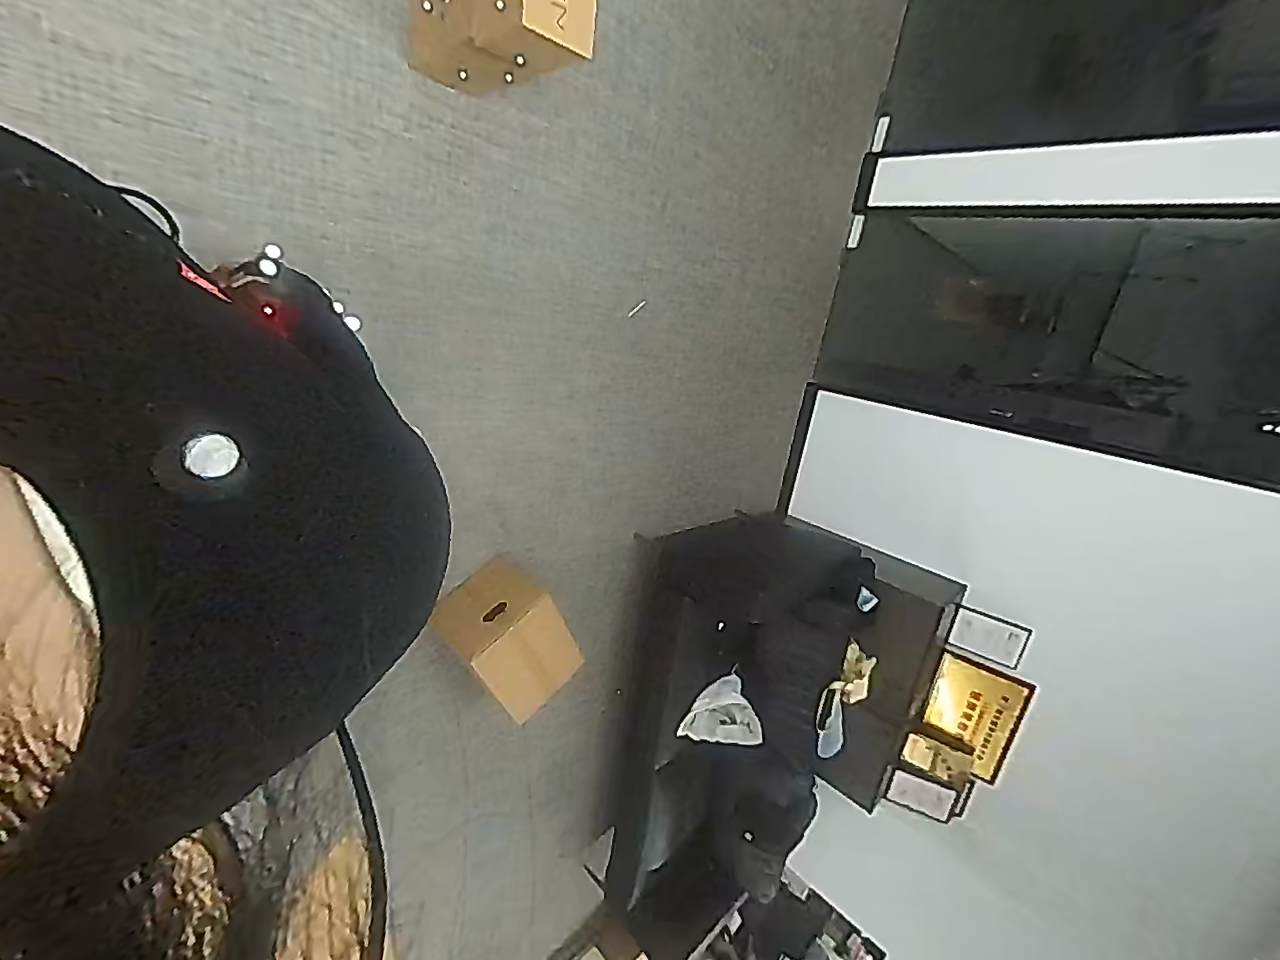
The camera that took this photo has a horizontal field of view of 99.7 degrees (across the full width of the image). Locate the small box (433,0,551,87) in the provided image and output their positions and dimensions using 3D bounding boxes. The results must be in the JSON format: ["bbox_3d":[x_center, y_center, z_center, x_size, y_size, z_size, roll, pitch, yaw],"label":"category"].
[{"bbox_3d":[-0.316,-0.972,1.153,0.179,0.176,0.168,-6,112,-45],"label":"small box"}]

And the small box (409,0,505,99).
[{"bbox_3d":[-0.423,-1.029,1.262,0.168,0.176,0.179,-7,113,-46],"label":"small box"}]
